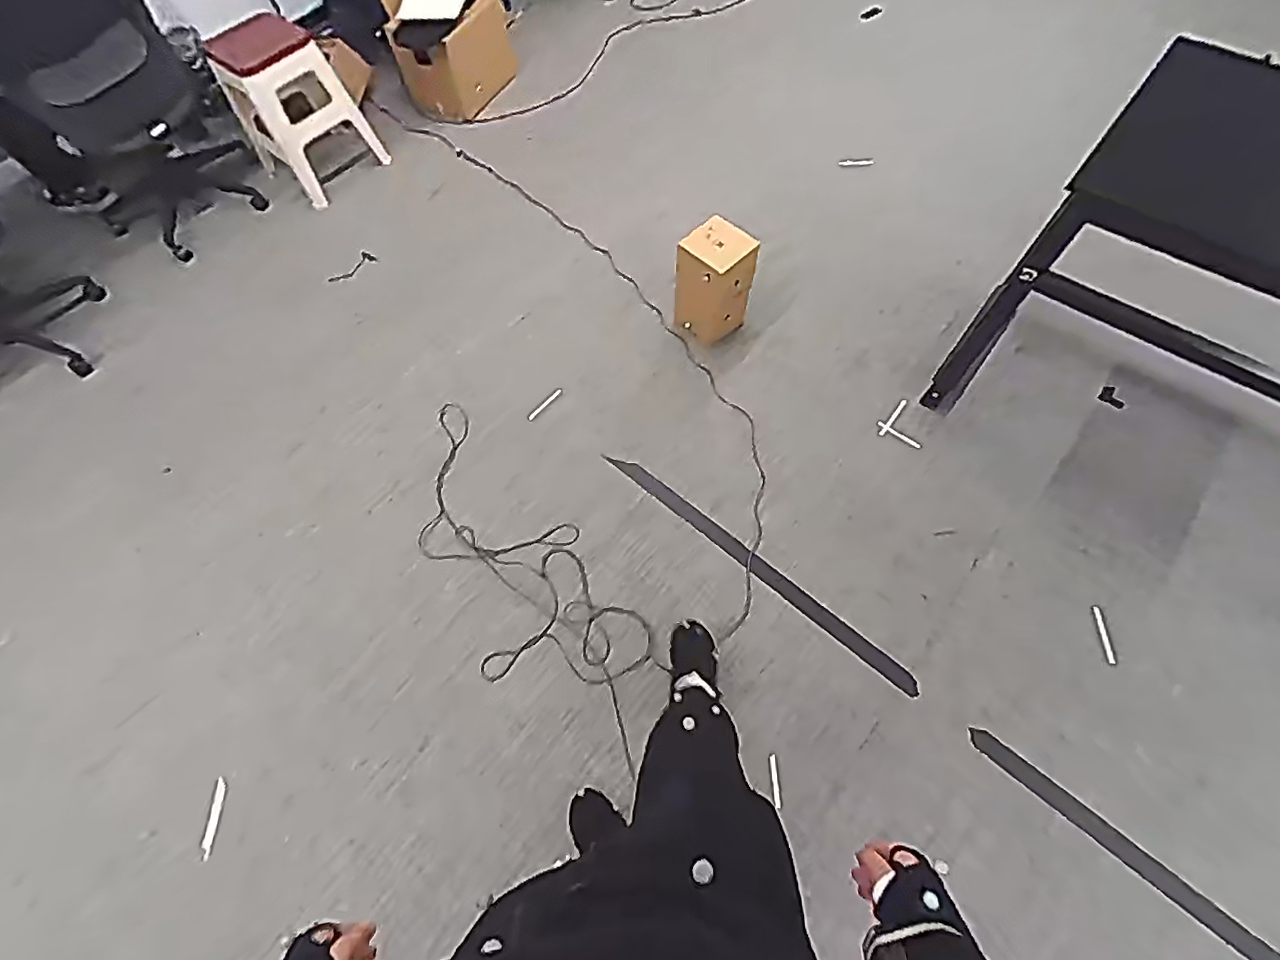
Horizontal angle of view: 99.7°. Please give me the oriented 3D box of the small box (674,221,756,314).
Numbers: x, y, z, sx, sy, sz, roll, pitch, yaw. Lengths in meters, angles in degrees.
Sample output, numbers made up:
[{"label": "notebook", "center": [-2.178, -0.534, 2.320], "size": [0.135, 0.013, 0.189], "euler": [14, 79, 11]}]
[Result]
[{"label": "small box", "center": [0.220, -0.627, 1.620], "size": [0.168, 0.176, 0.179], "euler": [-42, 69, -17]}]

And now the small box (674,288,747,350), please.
[{"label": "small box", "center": [0.223, -0.565, 1.773], "size": [0.179, 0.176, 0.168], "euler": [-39, 68, -15]}]
